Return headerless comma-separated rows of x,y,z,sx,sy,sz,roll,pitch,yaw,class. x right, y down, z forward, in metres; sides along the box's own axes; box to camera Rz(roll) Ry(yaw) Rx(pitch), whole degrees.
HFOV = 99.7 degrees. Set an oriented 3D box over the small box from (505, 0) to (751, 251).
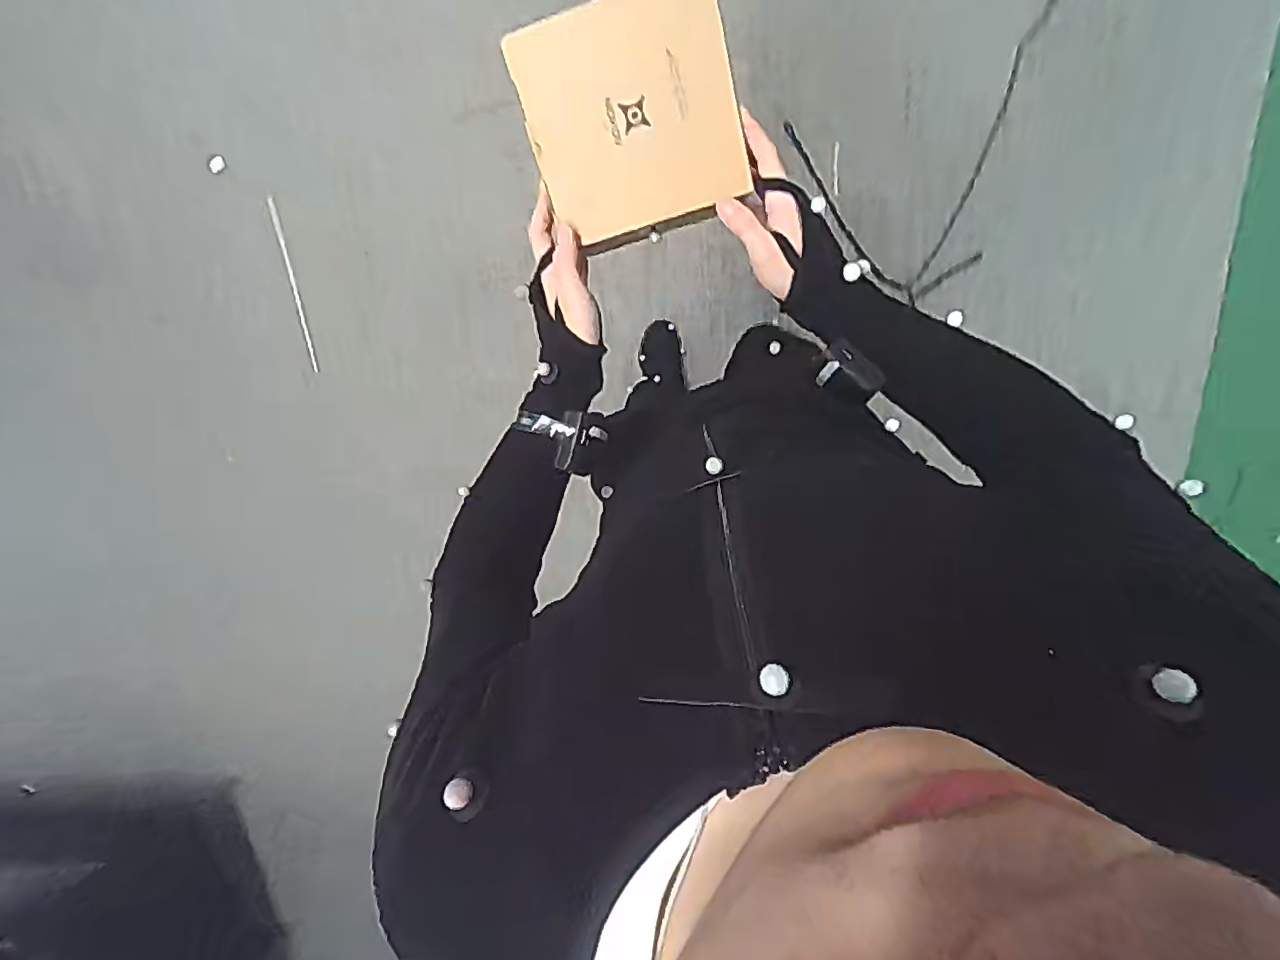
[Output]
-0.002,-0.329,0.521,0.179,0.176,0.168,-13,110,8,small box
